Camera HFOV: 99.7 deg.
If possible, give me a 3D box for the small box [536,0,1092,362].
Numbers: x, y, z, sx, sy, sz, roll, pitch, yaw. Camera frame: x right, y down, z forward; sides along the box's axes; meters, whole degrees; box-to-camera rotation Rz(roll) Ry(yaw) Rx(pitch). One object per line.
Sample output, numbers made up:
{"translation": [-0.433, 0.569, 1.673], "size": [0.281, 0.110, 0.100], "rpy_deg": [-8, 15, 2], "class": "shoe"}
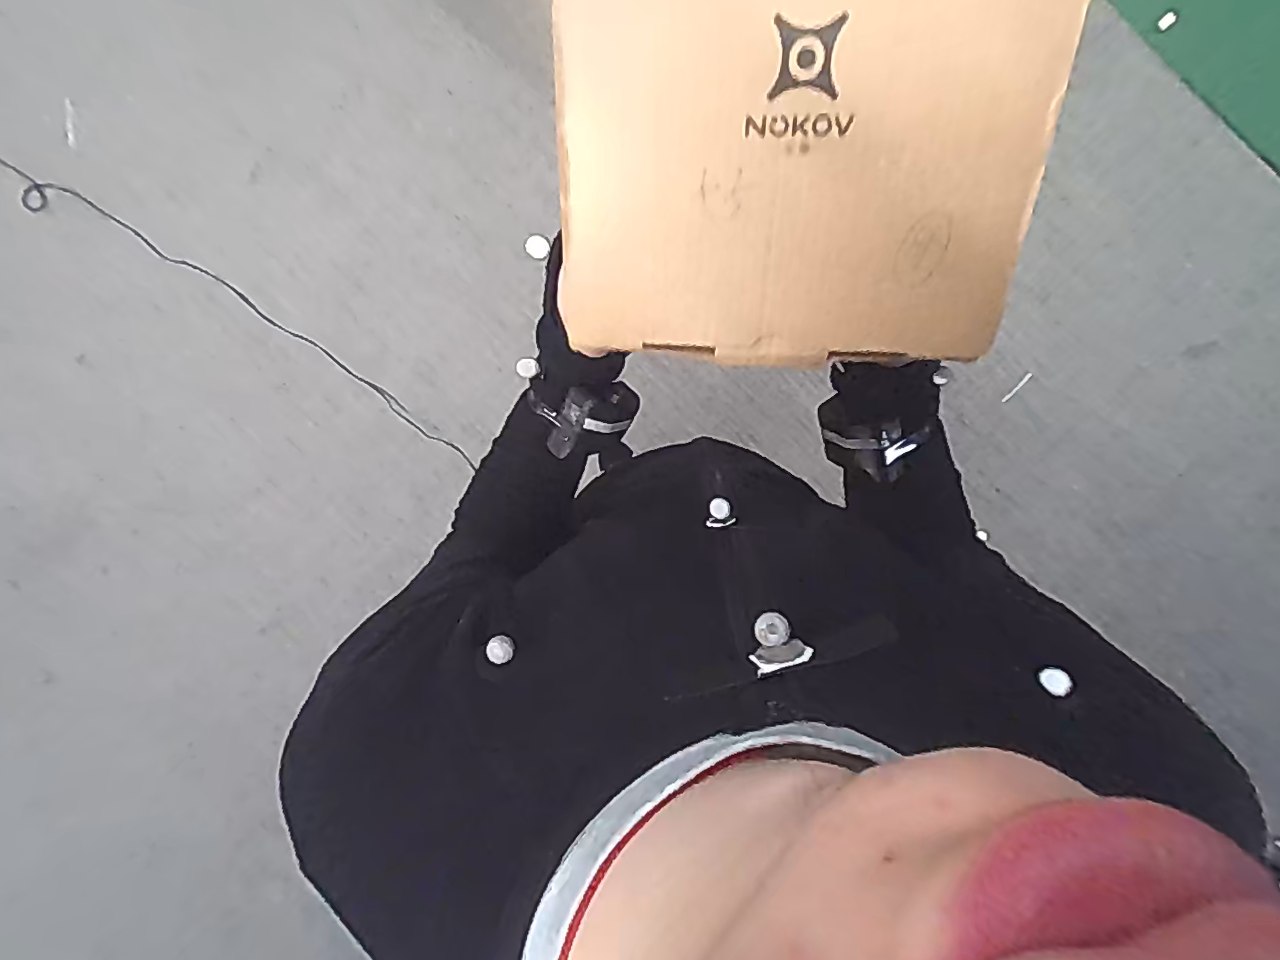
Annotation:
{"translation": [0.055, -0.160, 0.243], "size": [0.168, 0.176, 0.179], "rpy_deg": [2, 115, 3], "class": "small box"}
